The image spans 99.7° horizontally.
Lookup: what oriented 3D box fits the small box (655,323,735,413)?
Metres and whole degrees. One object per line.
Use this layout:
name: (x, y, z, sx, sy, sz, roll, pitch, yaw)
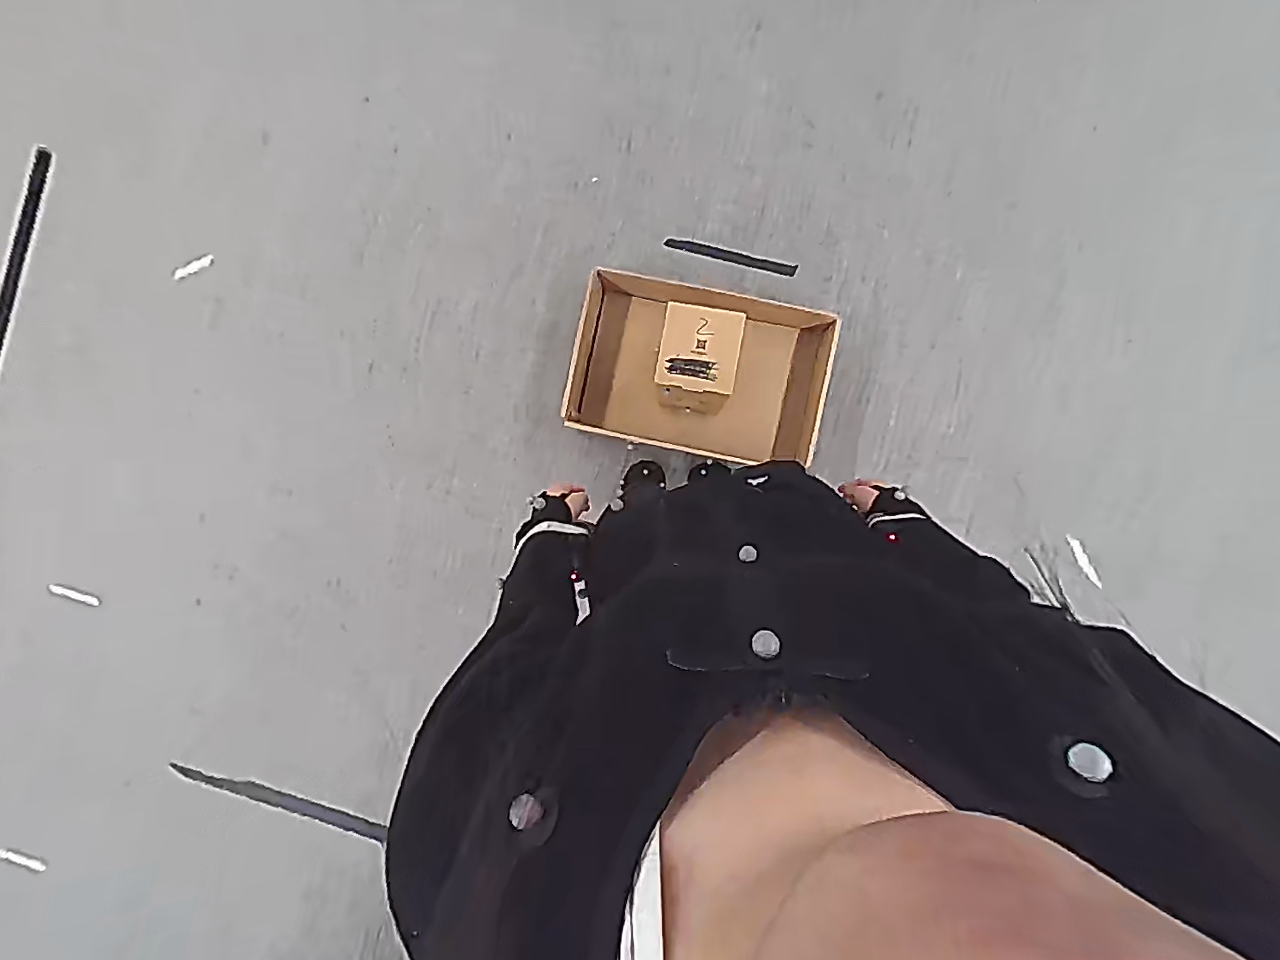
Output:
small box: (0.132, -0.275, 1.361, 0.168, 0.176, 0.179, 10, 91, 3)
